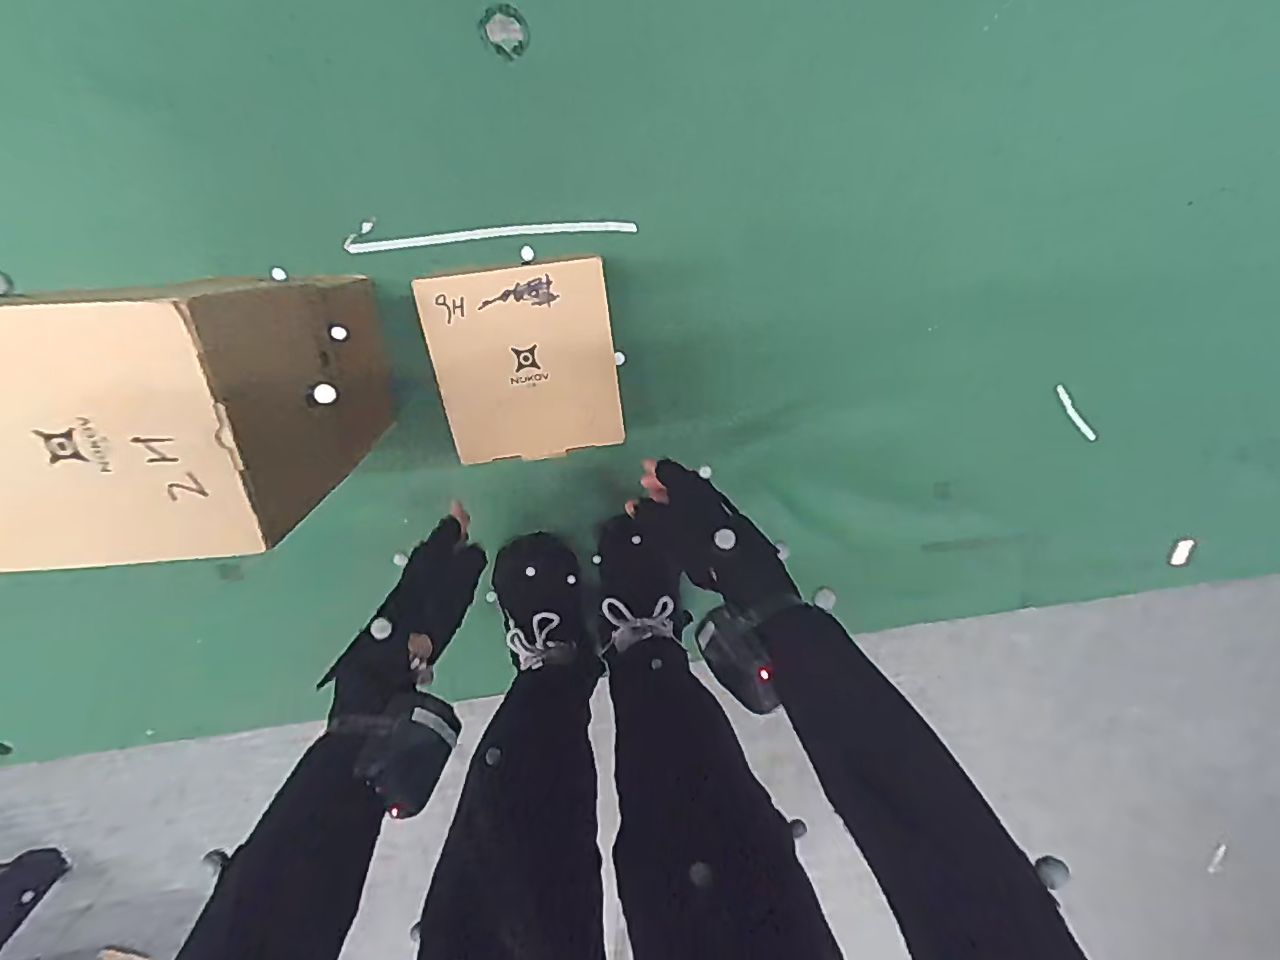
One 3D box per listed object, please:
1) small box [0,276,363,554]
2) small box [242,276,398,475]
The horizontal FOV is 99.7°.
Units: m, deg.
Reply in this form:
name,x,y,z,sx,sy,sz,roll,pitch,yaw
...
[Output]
name,x,y,z,sx,sy,sz,roll,pitch,yaw
small box,-0.344,-0.060,0.406,0.179,0.176,0.168,-3,114,-4
small box,-0.370,-0.114,0.562,0.168,0.176,0.179,-3,113,-5
